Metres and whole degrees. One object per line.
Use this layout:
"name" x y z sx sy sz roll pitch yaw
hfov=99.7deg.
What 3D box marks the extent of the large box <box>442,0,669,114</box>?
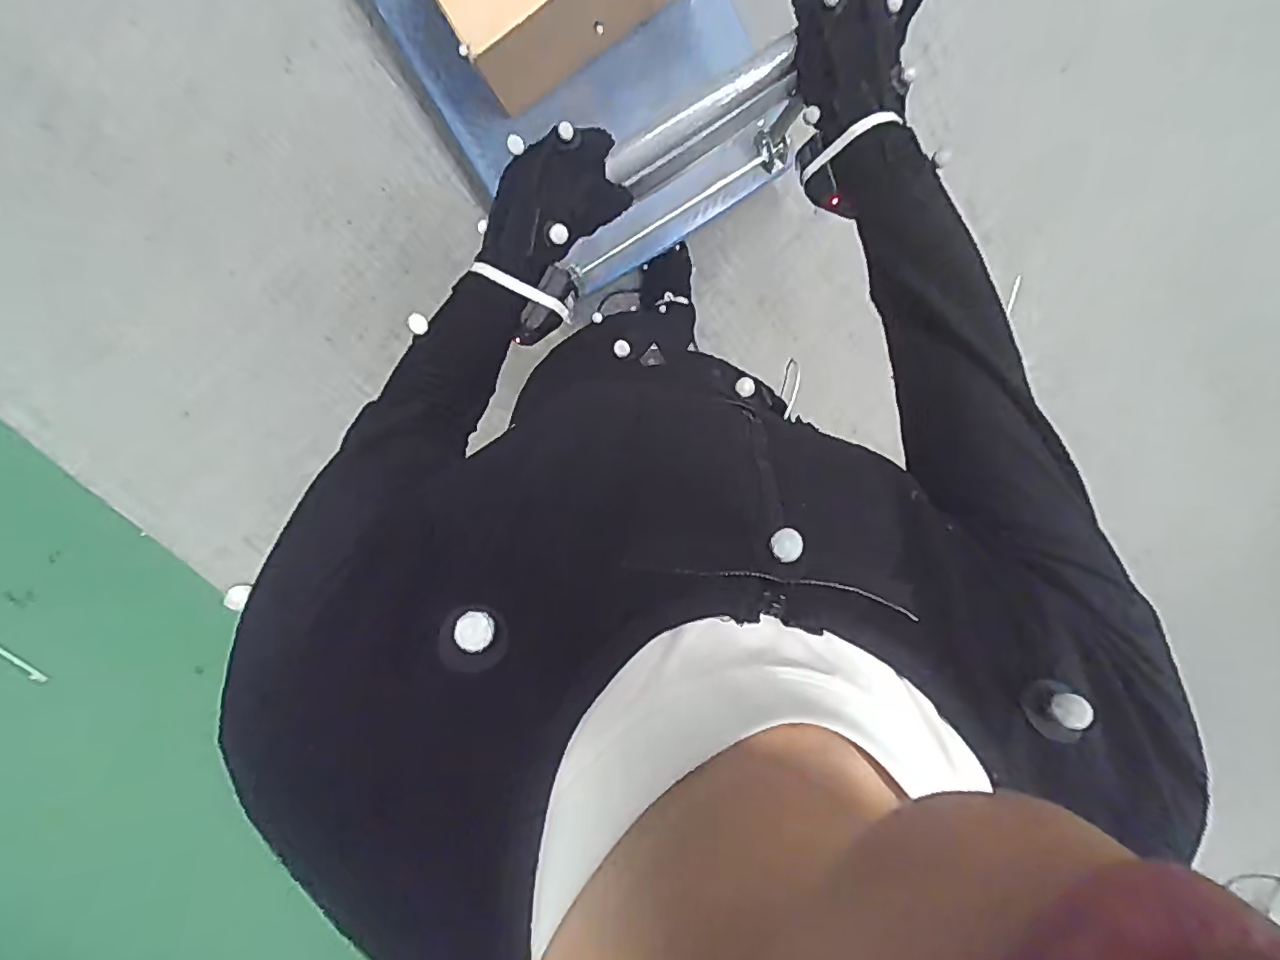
"large box" -0.148 -0.879 0.845 0.408 0.320 0.320 -31 108 9
